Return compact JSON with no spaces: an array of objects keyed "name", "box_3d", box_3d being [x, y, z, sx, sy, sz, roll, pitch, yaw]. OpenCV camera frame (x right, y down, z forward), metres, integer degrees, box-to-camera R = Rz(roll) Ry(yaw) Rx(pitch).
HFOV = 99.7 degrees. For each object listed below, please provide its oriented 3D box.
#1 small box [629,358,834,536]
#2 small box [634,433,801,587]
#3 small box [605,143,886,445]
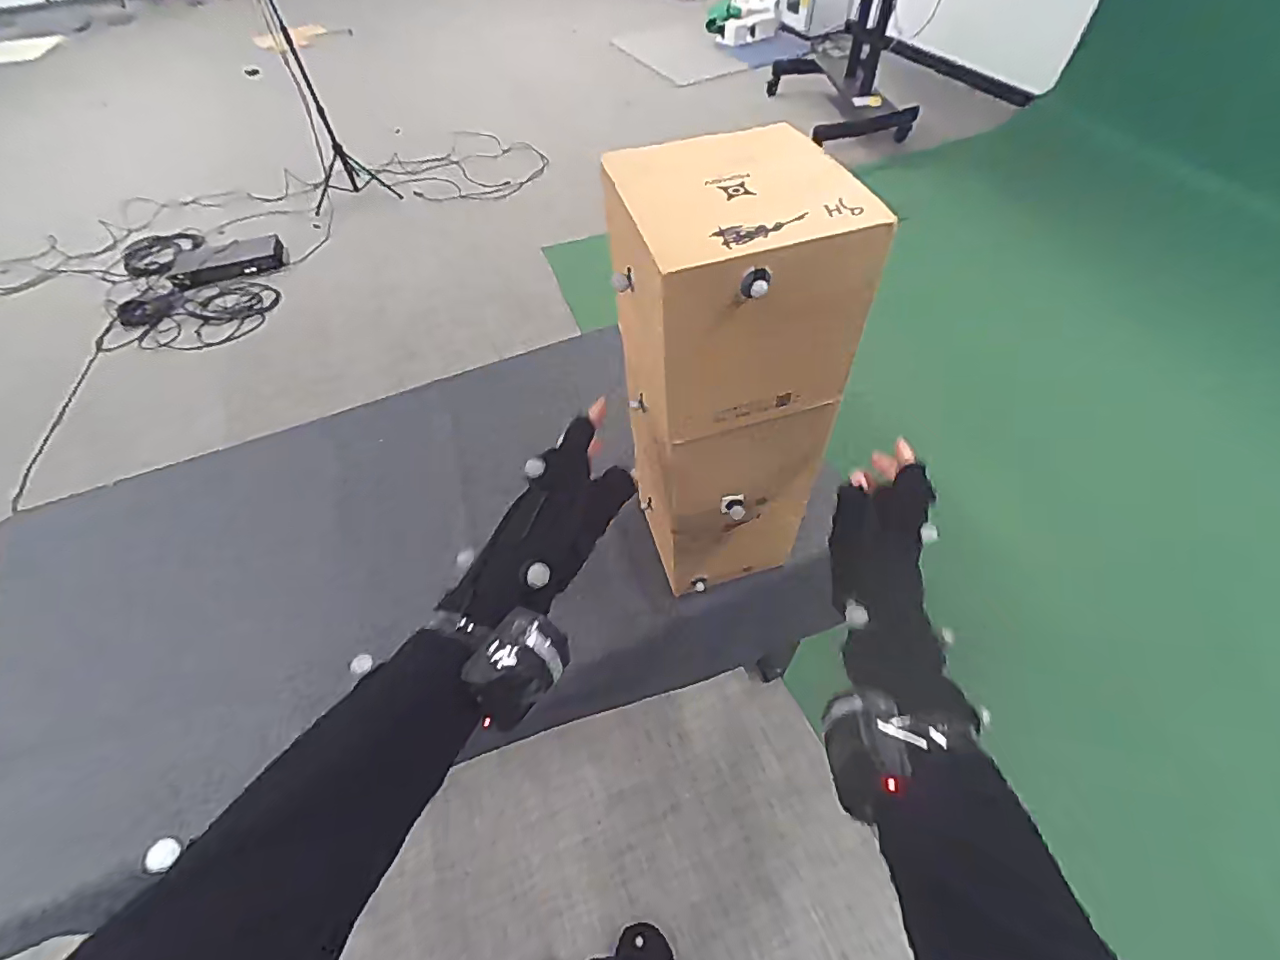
[{"name":"small box","box_3d":[0.085,-0.065,0.604,0.168,0.176,0.179,-14,54,-6]},{"name":"small box","box_3d":[0.097,0.028,0.736,0.168,0.176,0.179,-15,52,-7]},{"name":"small box","box_3d":[0.073,-0.160,0.472,0.168,0.176,0.179,-15,53,-6]}]
